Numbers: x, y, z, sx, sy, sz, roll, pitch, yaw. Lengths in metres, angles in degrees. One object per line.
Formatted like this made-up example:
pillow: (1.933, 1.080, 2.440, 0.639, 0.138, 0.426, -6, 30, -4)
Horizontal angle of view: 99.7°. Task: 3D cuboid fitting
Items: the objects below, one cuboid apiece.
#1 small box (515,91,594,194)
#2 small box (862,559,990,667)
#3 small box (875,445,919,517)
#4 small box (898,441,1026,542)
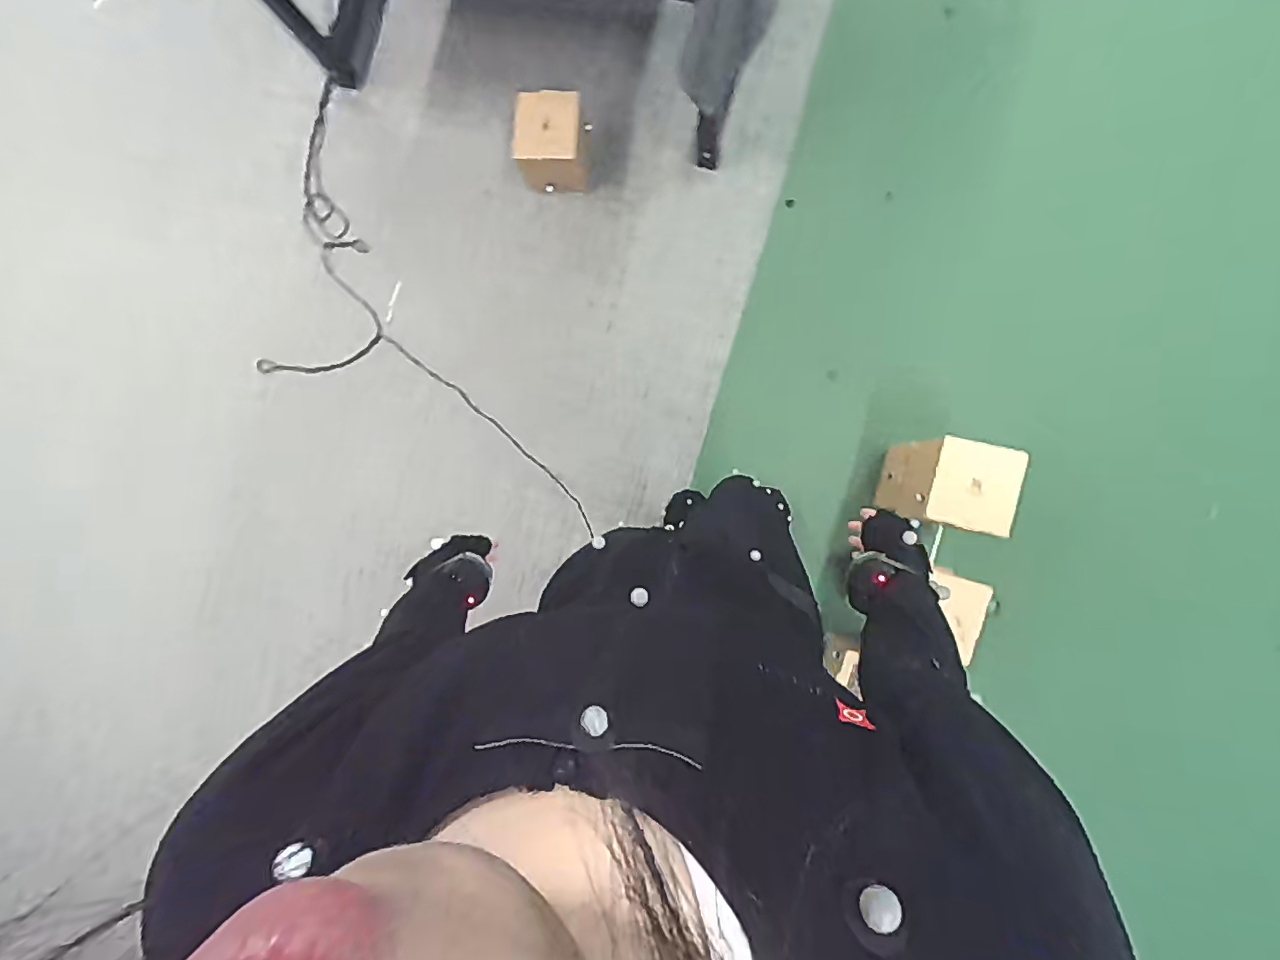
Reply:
small box: (-0.223, -0.900, 1.450, 0.168, 0.176, 0.179, 5, 90, 7)
small box: (0.611, 0.279, 1.182, 0.179, 0.176, 0.168, 18, 93, 6)
small box: (0.707, 0.020, 1.339, 0.179, 0.176, 0.168, 16, 92, 7)
small box: (0.687, 0.023, 1.177, 0.168, 0.176, 0.179, 14, 92, 6)
